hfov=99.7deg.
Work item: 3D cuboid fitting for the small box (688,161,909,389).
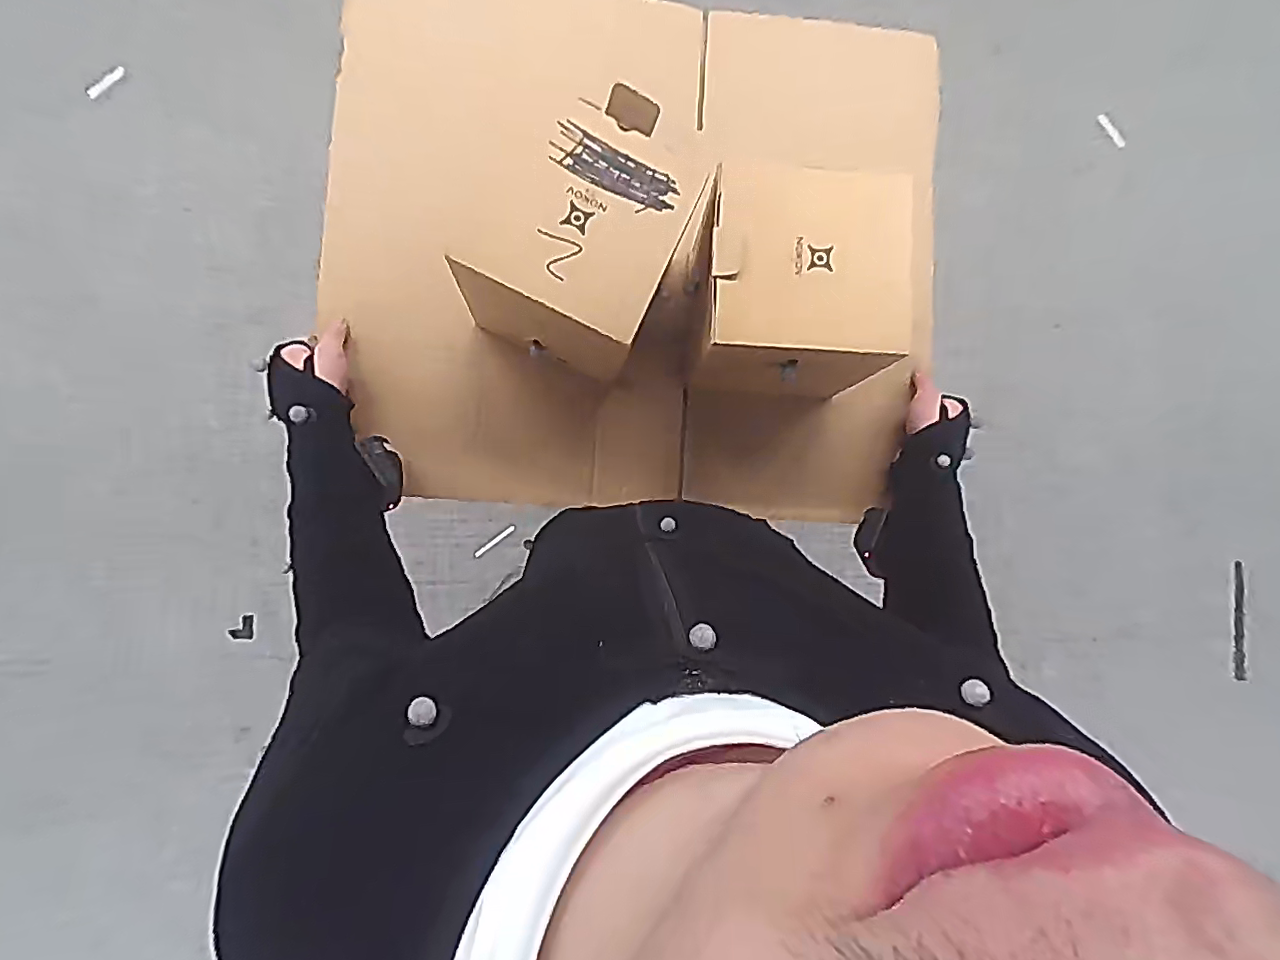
[{"bbox_3d":[0.151,-0.196,0.562,0.179,0.176,0.168,2,86,-2],"label":"small box"}]
